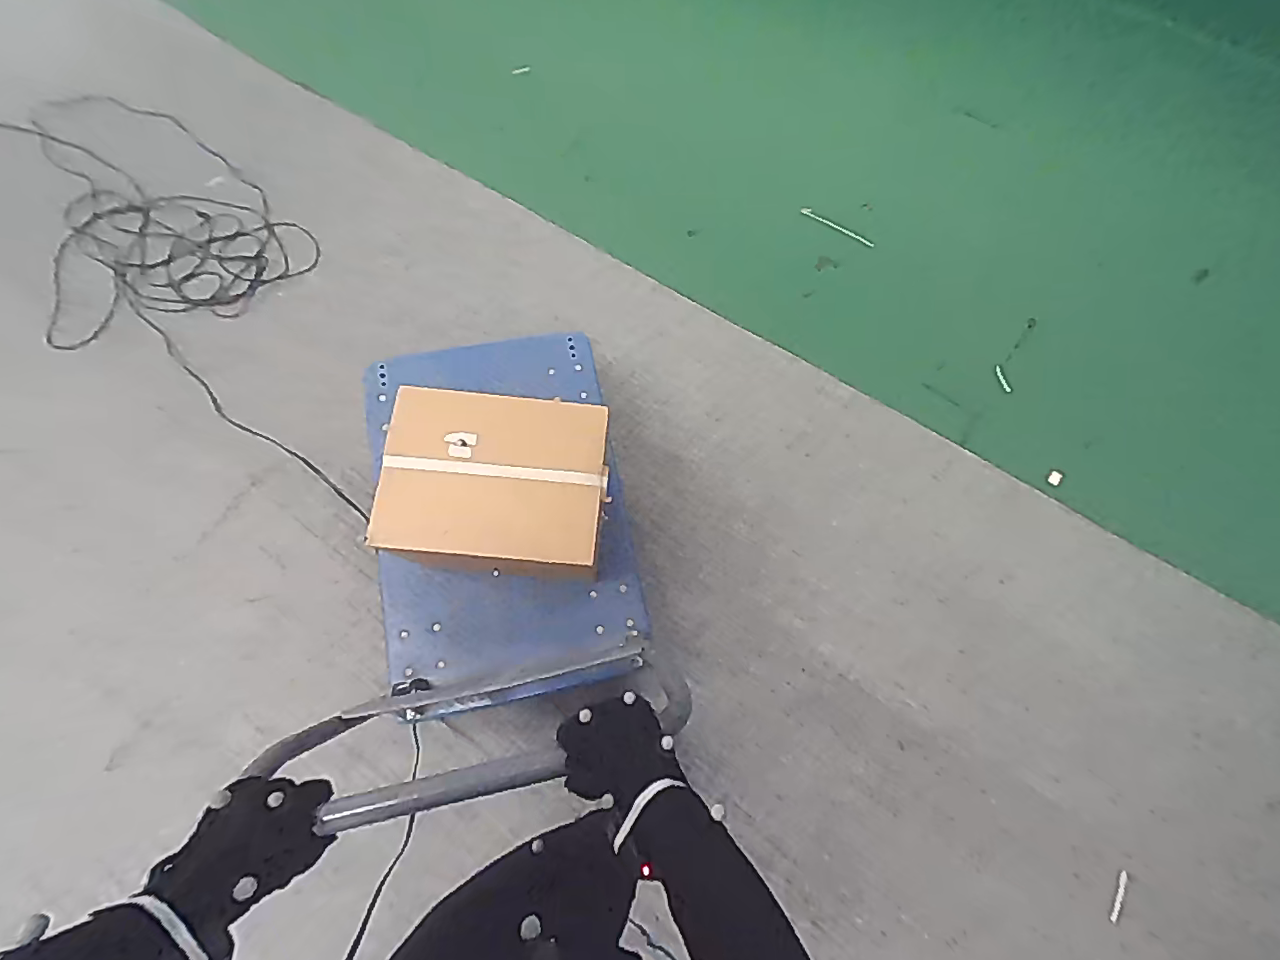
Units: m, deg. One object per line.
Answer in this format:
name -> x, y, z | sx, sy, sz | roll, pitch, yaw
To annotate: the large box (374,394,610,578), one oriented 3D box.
large box -> -0.272, 0.033, 1.143 | 0.408, 0.320, 0.320 | 4, 73, -1
